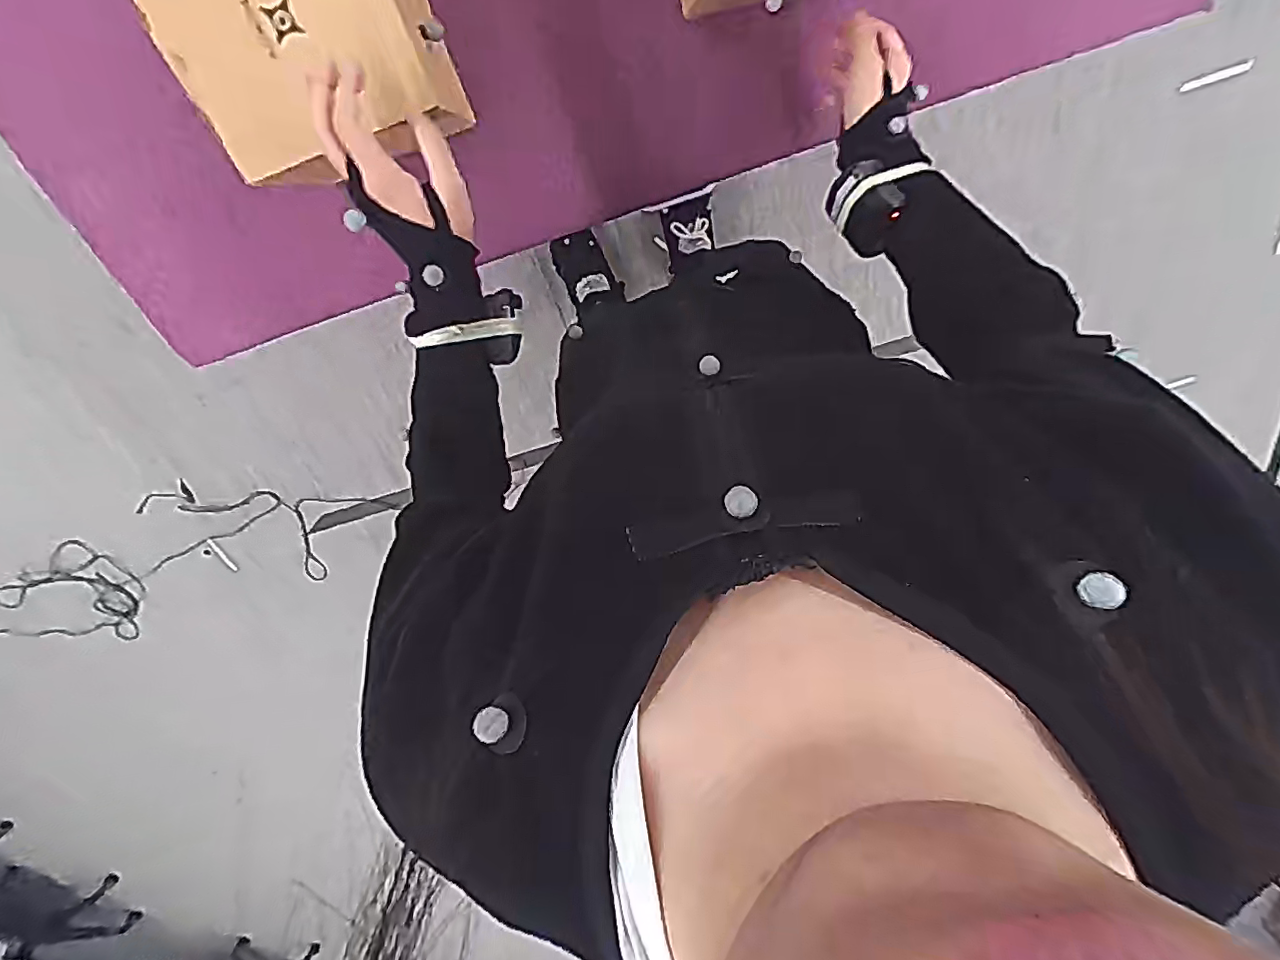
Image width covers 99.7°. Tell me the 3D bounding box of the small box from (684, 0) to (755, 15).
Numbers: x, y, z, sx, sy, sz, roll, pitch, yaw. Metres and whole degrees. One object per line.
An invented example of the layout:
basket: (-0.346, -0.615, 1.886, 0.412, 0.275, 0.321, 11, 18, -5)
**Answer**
small box: (0.108, -0.506, 0.418, 0.168, 0.176, 0.179, -12, 121, 3)

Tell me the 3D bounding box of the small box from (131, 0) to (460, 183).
small box: (-0.273, -0.376, 0.464, 0.179, 0.176, 0.168, -18, 120, 6)
